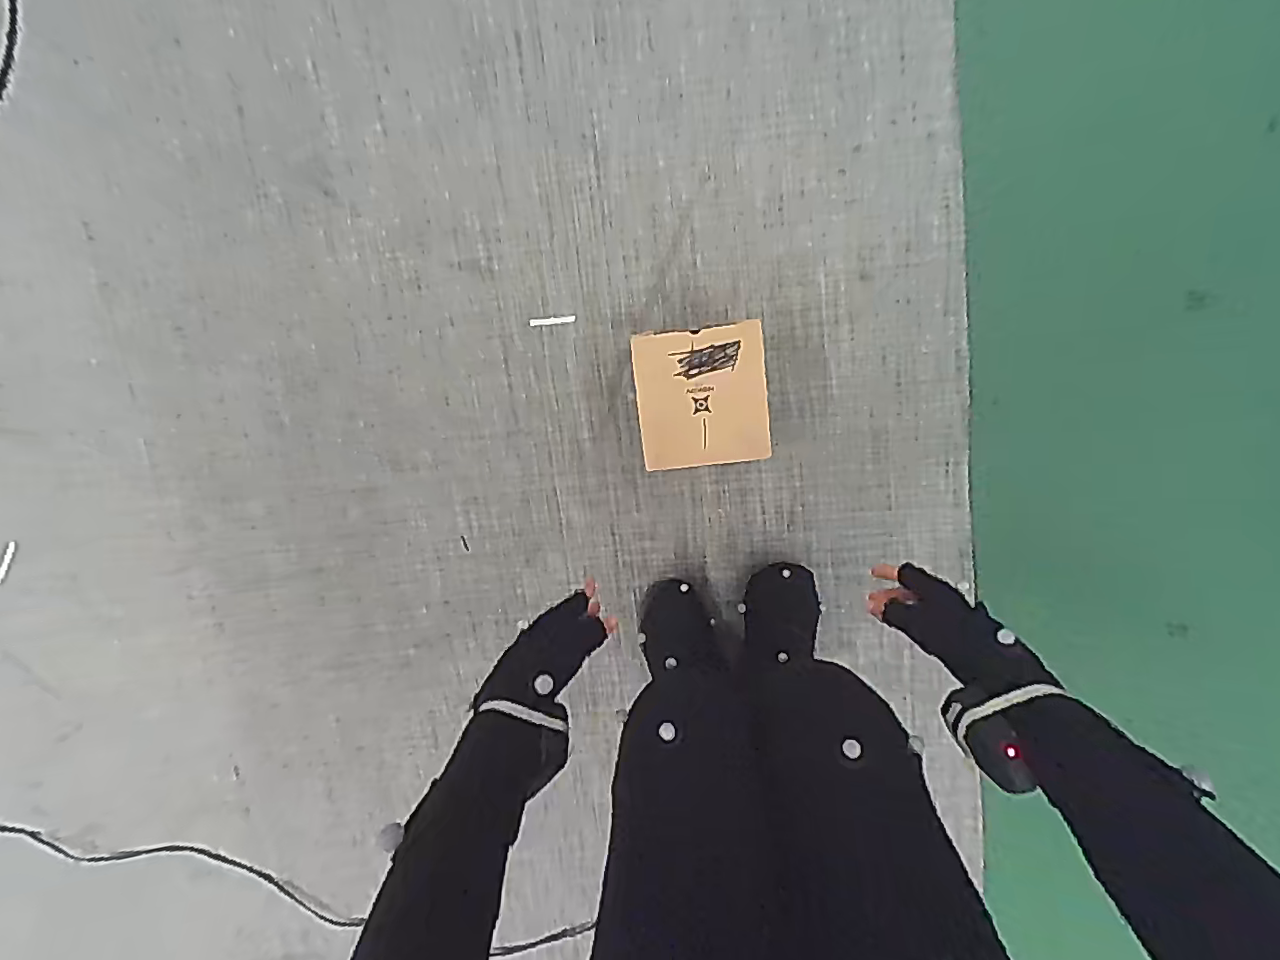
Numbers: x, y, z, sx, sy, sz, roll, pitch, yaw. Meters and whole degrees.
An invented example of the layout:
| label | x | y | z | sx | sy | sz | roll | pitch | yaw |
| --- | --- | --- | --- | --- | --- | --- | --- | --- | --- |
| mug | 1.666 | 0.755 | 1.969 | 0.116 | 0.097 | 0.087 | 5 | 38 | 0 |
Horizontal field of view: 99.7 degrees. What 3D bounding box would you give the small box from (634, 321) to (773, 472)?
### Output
| label | x | y | z | sx | sy | sz | roll | pitch | yaw |
| --- | --- | --- | --- | --- | --- | --- | --- | --- | --- |
| small box | 0.084 | -0.116 | 0.763 | 0.168 | 0.176 | 0.179 | -6 | 100 | 5 |
